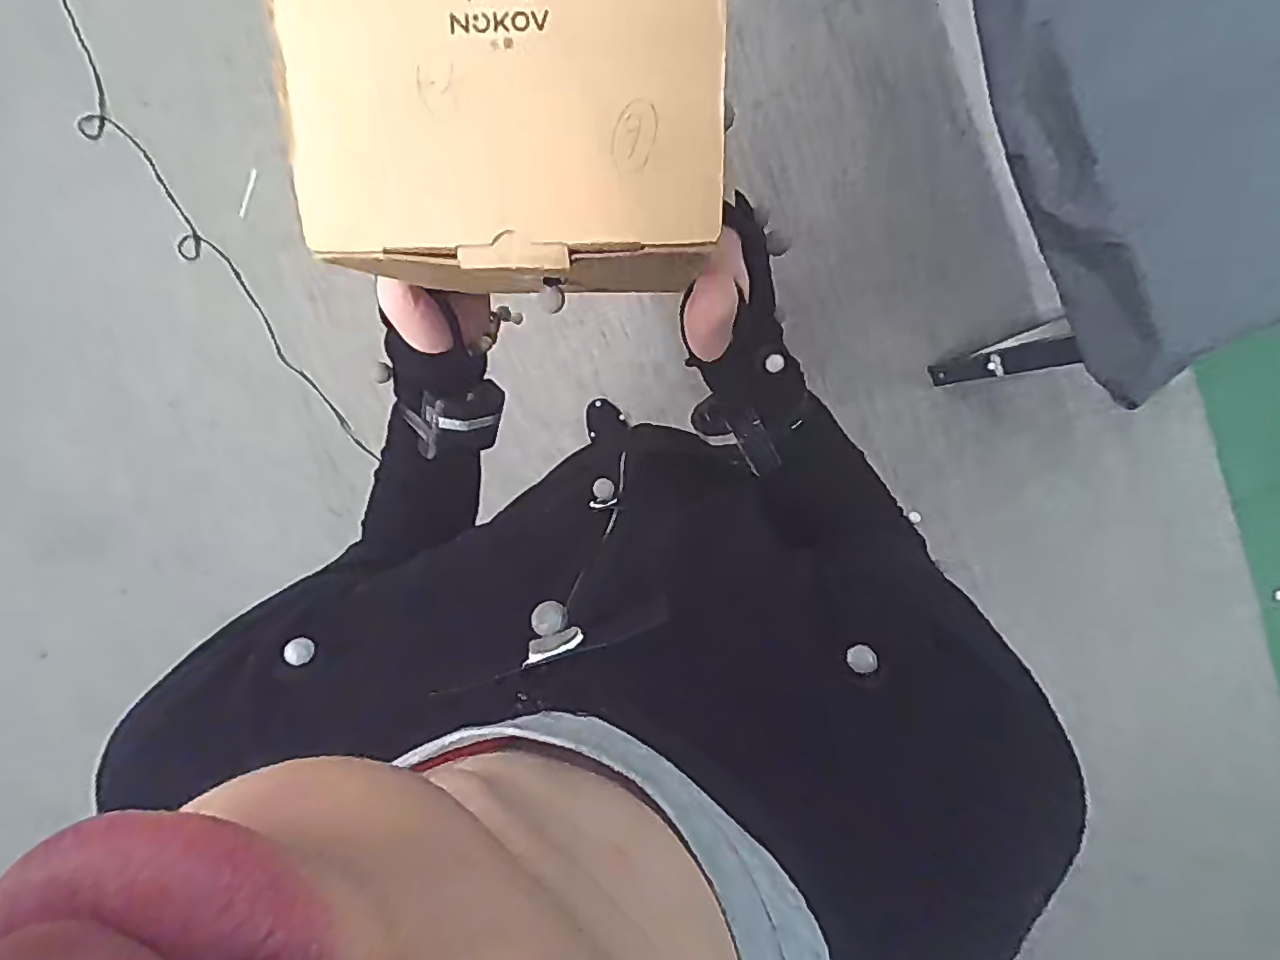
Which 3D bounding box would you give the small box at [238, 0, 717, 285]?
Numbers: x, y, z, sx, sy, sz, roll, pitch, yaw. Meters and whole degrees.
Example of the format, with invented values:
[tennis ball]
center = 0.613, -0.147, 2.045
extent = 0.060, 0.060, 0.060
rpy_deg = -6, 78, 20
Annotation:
[small box]
center = -0.054, -0.189, 0.259
extent = 0.168, 0.176, 0.179
rpy_deg = -1, 106, 0
